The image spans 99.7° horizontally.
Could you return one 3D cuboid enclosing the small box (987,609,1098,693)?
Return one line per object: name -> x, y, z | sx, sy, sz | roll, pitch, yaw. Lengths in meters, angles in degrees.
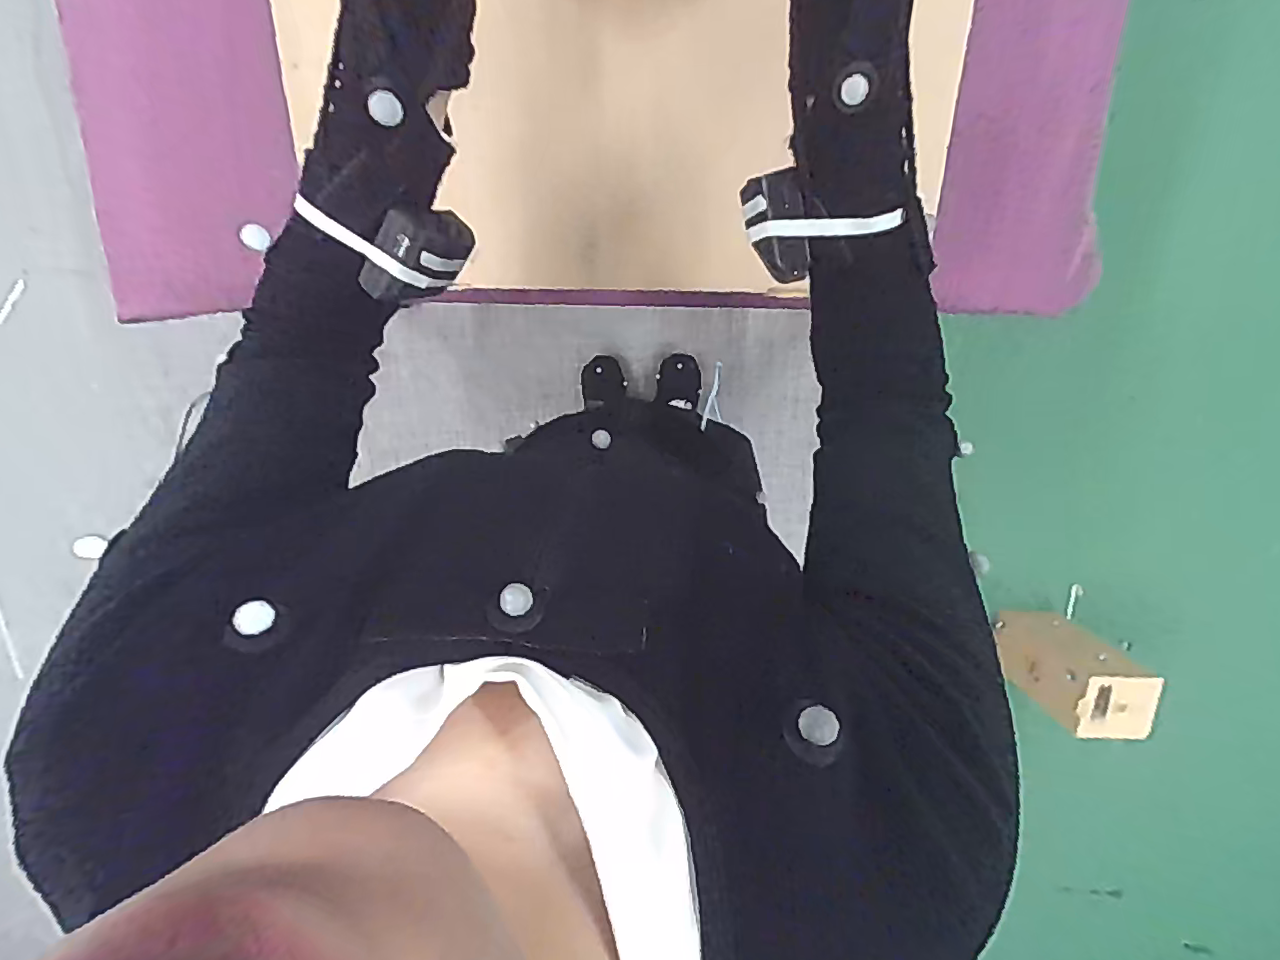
small box -> 1.119, 0.474, 1.519 | 0.179, 0.176, 0.168 | 2, 104, 0
